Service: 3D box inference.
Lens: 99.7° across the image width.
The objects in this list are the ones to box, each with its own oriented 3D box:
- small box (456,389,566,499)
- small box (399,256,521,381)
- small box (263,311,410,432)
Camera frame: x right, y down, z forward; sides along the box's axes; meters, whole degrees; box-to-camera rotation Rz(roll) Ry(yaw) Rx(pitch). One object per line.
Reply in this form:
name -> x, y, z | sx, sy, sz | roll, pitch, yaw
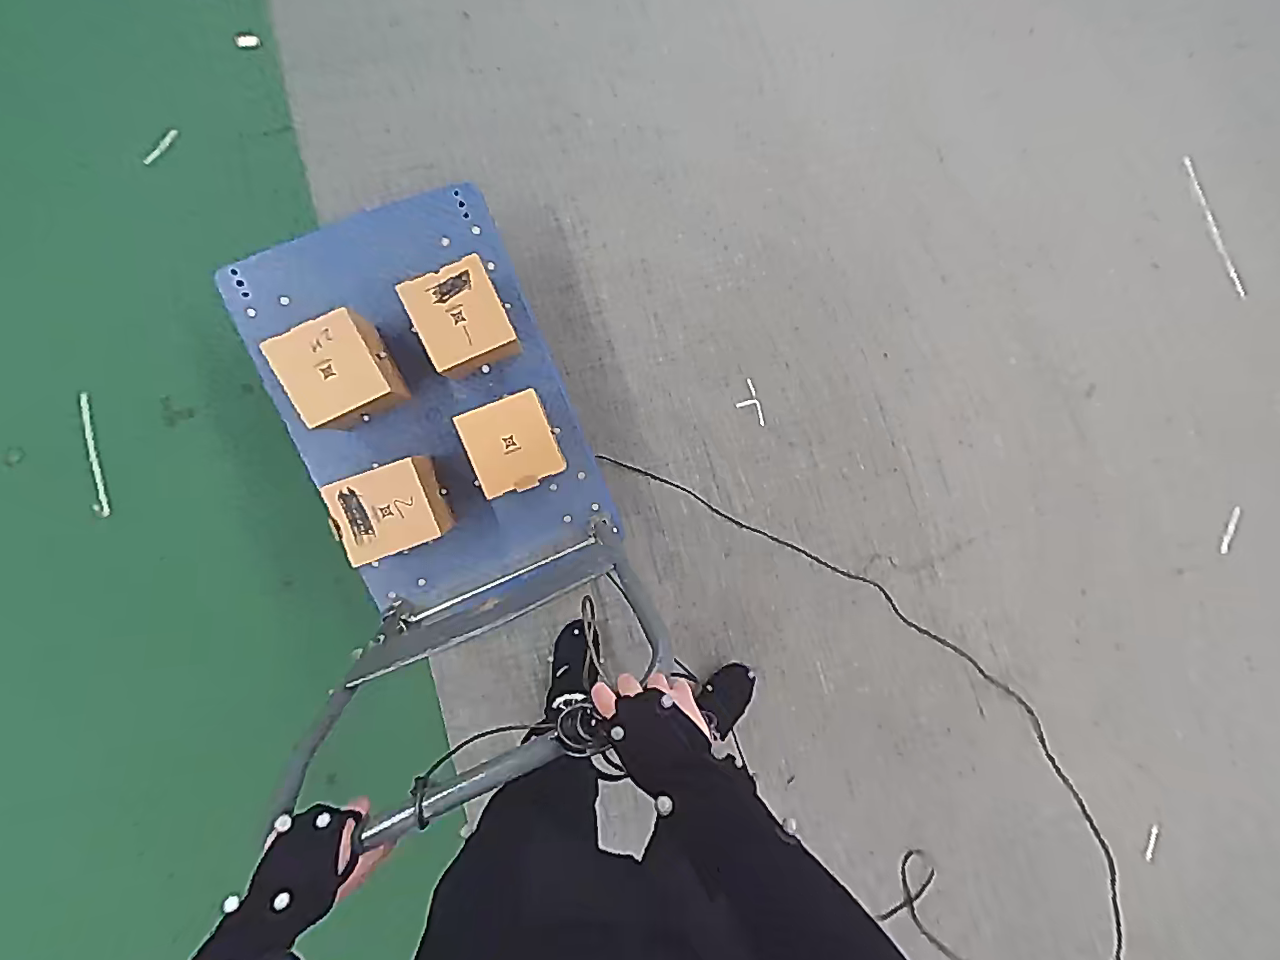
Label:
small box -> -0.264, -0.075, 1.133 | 0.168, 0.176, 0.179 | -22, 97, -6
small box -> -0.356, -0.319, 1.101 | 0.168, 0.176, 0.179 | -26, 98, -5
small box -> -0.587, -0.207, 1.075 | 0.168, 0.176, 0.179 | -28, 97, -6
